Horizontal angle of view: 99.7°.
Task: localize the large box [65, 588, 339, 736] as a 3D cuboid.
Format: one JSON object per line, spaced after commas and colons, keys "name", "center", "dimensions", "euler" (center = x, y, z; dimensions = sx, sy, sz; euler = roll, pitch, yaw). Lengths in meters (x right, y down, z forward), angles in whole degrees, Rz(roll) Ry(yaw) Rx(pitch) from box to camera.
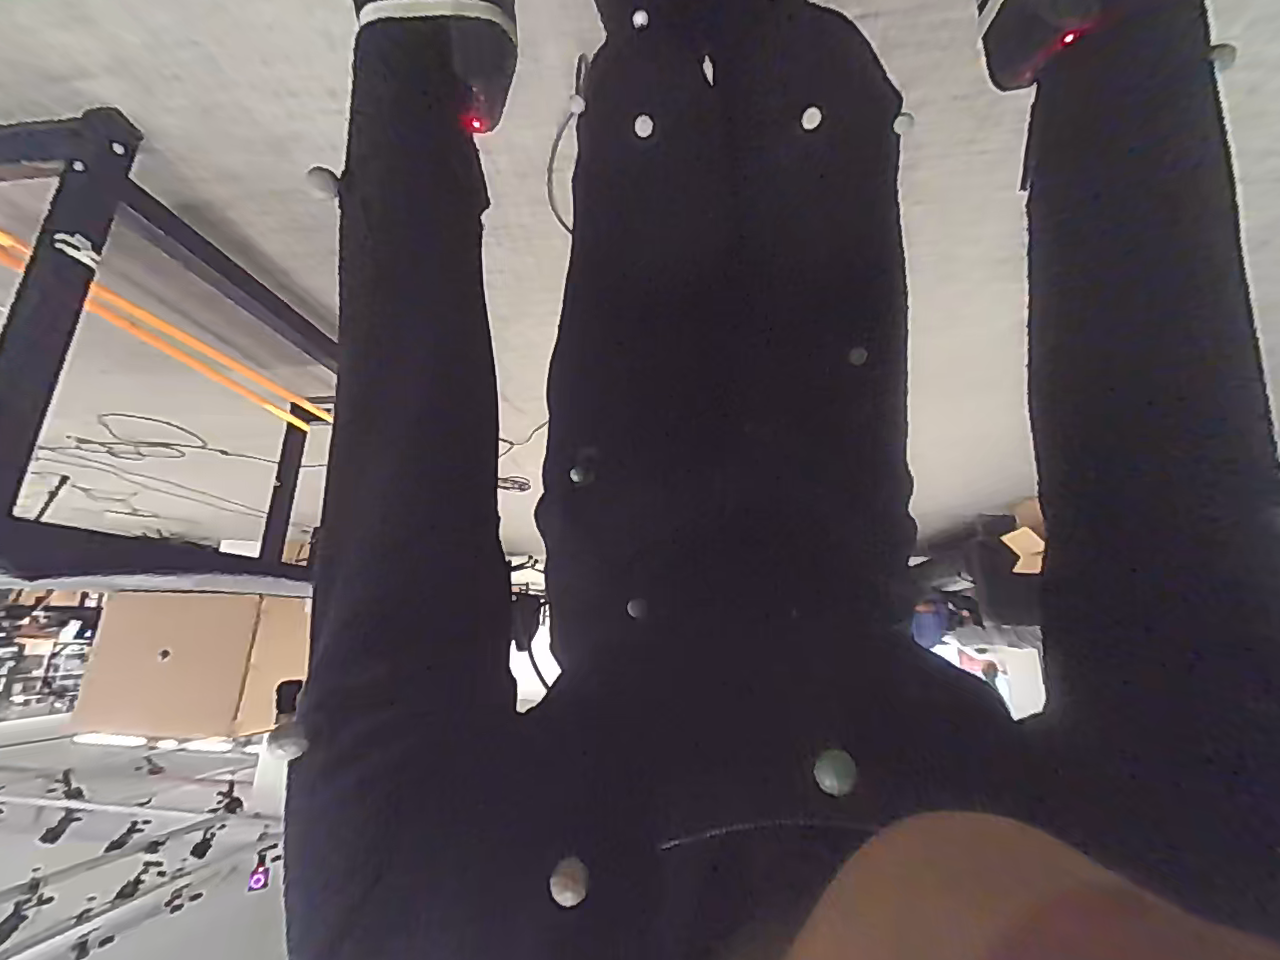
{"name": "large box", "center": [-1.047, 0.439, 1.340], "dimensions": [0.408, 0.320, 0.320], "euler": [-2, 164, 7]}
